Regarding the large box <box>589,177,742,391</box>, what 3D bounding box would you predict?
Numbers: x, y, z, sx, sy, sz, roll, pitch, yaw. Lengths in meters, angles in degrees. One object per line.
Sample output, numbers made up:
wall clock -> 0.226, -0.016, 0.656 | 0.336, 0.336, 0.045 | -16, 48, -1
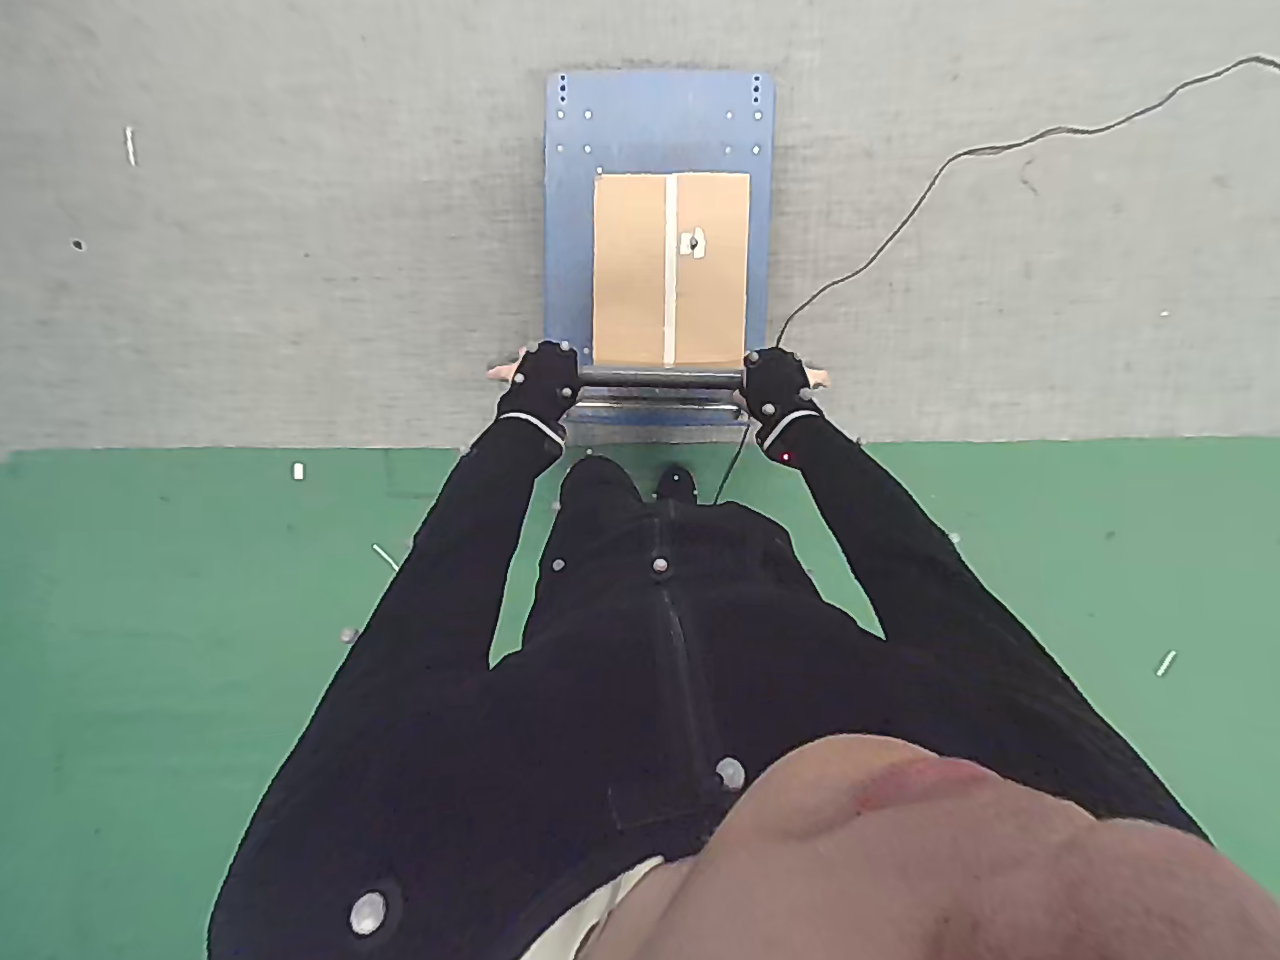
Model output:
large box -> 0.057, -0.421, 1.252 | 0.320, 0.320, 0.408 | 0, 95, 1
